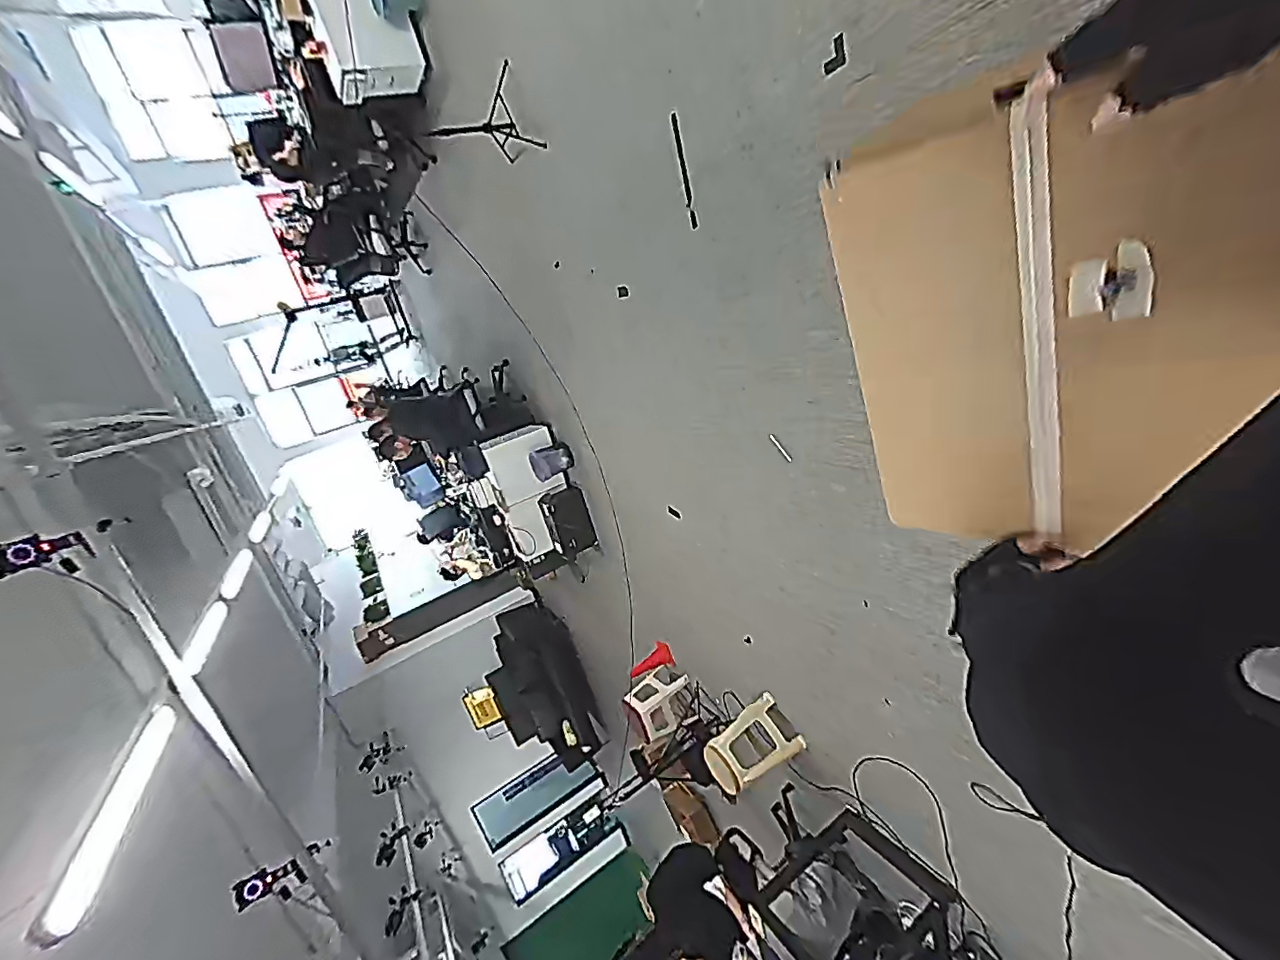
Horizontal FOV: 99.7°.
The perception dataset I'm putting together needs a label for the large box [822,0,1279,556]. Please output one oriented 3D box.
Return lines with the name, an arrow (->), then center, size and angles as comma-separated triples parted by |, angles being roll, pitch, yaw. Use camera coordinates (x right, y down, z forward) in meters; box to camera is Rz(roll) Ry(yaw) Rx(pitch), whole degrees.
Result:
large box -> 0.438, -0.191, 0.540 | 0.320, 0.320, 0.408 | 4, 127, 46
